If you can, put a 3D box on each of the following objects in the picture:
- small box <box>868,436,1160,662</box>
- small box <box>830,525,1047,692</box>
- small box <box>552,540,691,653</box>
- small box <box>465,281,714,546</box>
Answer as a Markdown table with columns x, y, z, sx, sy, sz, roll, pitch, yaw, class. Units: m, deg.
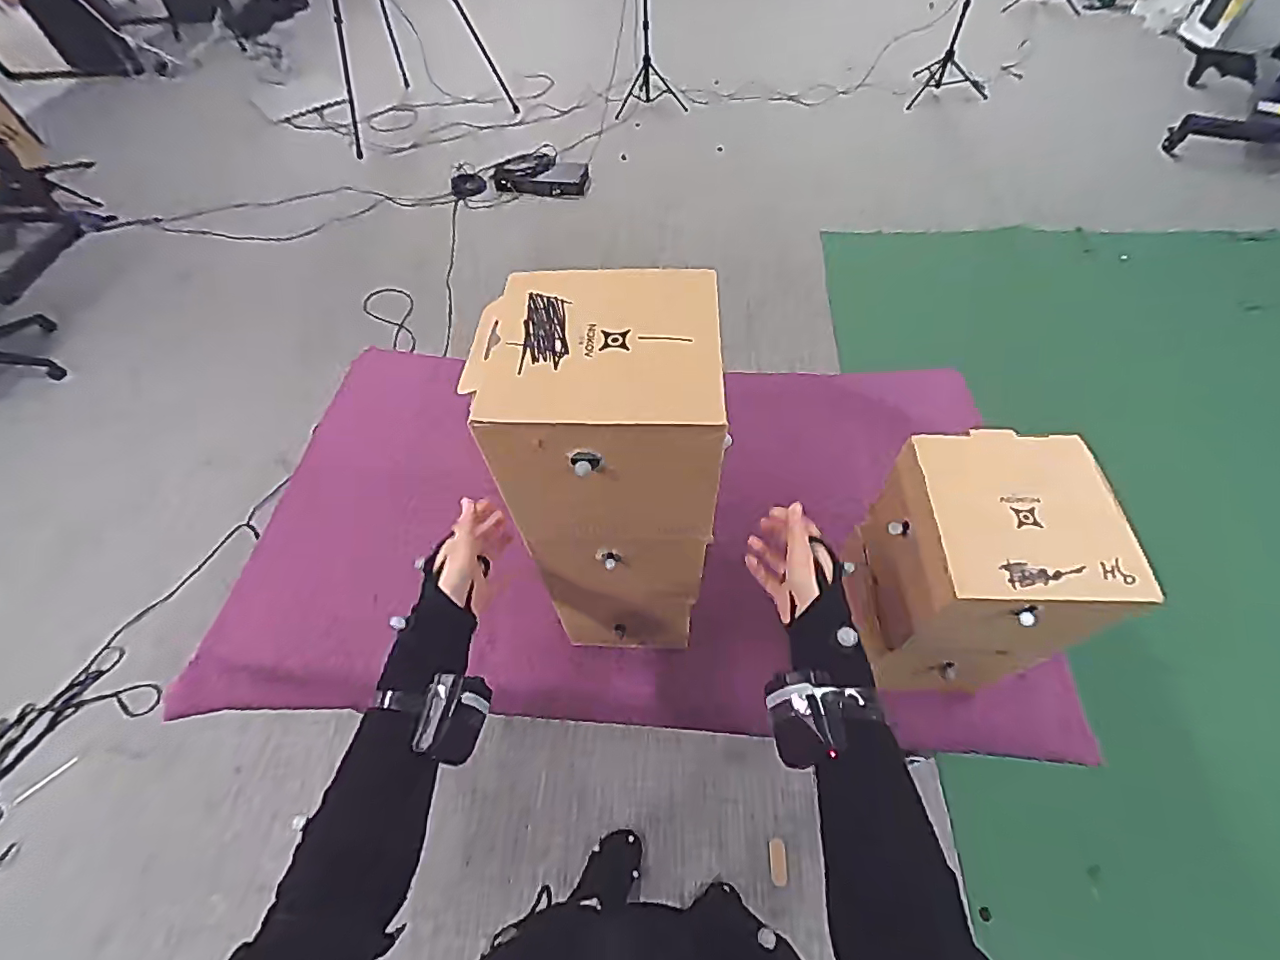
| x | y | z | sx | sy | sz | roll | pitch | yaw | class |
| --- | --- | --- | --- | --- | --- | --- | --- | --- | --- |
| 0.351 | 0.074 | 0.558 | 0.168 | 0.176 | 0.179 | -1 | 55 | 6 | small box |
| 0.360 | 0.168 | 0.693 | 0.179 | 0.176 | 0.168 | -2 | 56 | 5 | small box |
| -0.014 | 0.129 | 0.748 | 0.168 | 0.176 | 0.179 | 0 | 54 | 4 | small box |
| -0.027 | -0.051 | 0.476 | 0.179 | 0.176 | 0.168 | 0 | 56 | 4 | small box |
